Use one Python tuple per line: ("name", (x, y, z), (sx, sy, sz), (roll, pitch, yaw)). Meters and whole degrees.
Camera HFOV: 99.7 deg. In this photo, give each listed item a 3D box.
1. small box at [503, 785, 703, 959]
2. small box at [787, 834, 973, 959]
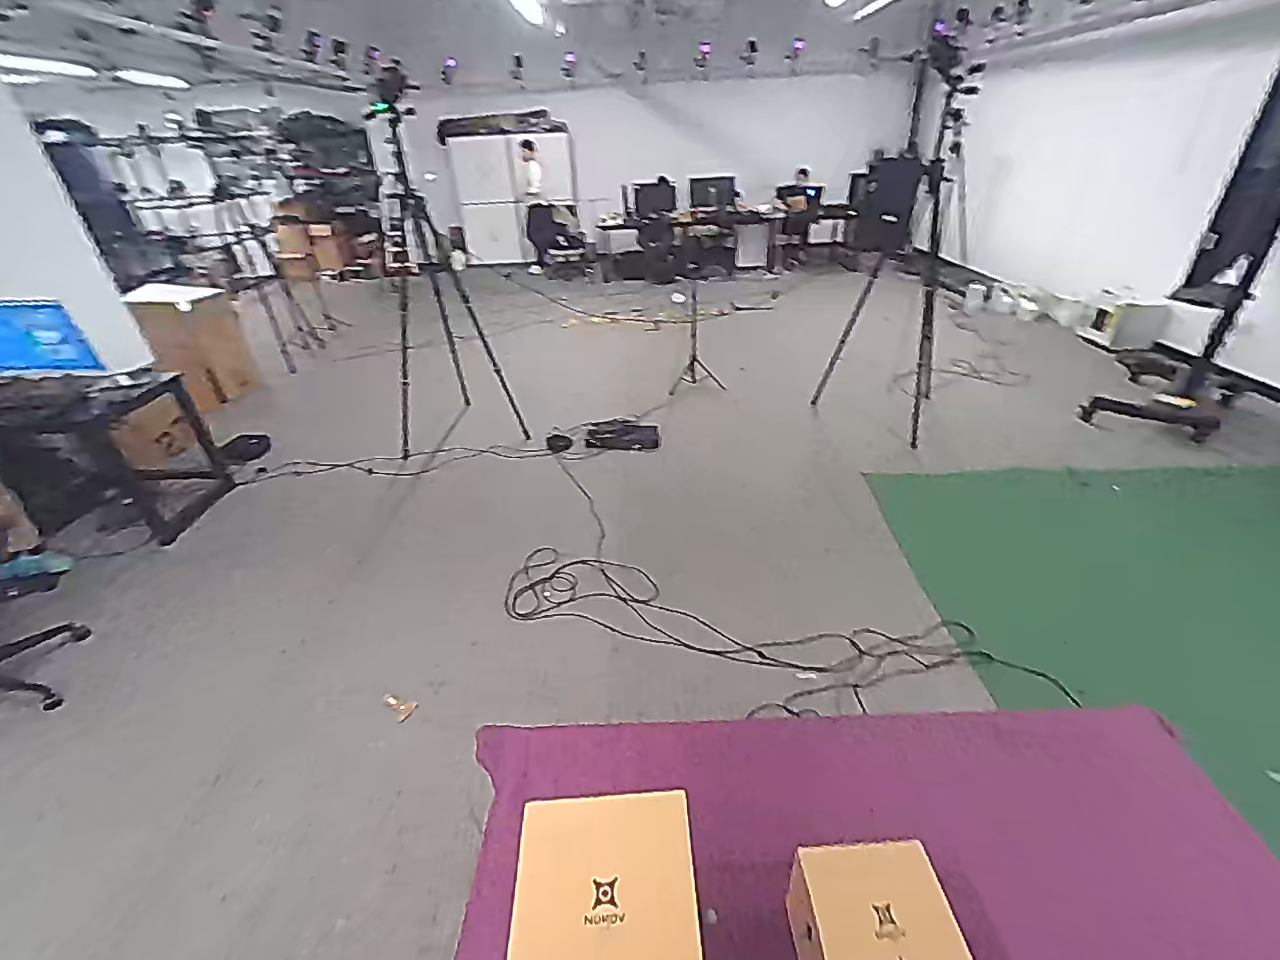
("small box", (-0.029, 0.427, 0.524), (0.168, 0.176, 0.179), (-4, 38, 0))
("small box", (0.290, 0.582, 0.679), (0.168, 0.176, 0.179), (-3, 32, 0))
